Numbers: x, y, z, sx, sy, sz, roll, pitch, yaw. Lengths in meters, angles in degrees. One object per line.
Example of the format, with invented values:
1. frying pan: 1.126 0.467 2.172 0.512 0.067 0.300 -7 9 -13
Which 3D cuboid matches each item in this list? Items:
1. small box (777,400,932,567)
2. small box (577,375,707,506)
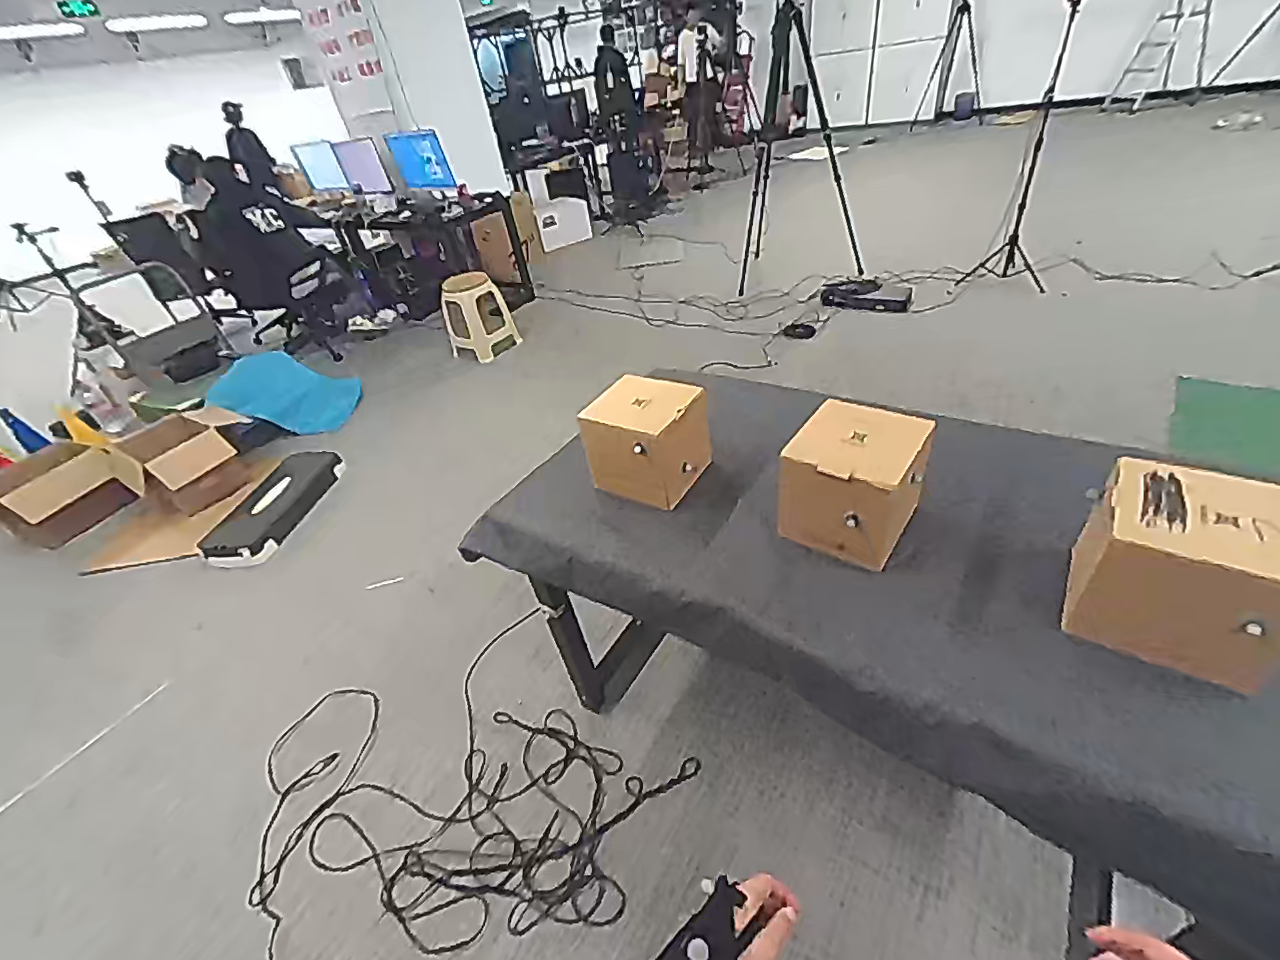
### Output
1. small box: 0.326 0.003 0.837 0.168 0.176 0.179 21 47 33
2. small box: 0.012 -0.075 1.011 0.179 0.176 0.168 16 45 29
